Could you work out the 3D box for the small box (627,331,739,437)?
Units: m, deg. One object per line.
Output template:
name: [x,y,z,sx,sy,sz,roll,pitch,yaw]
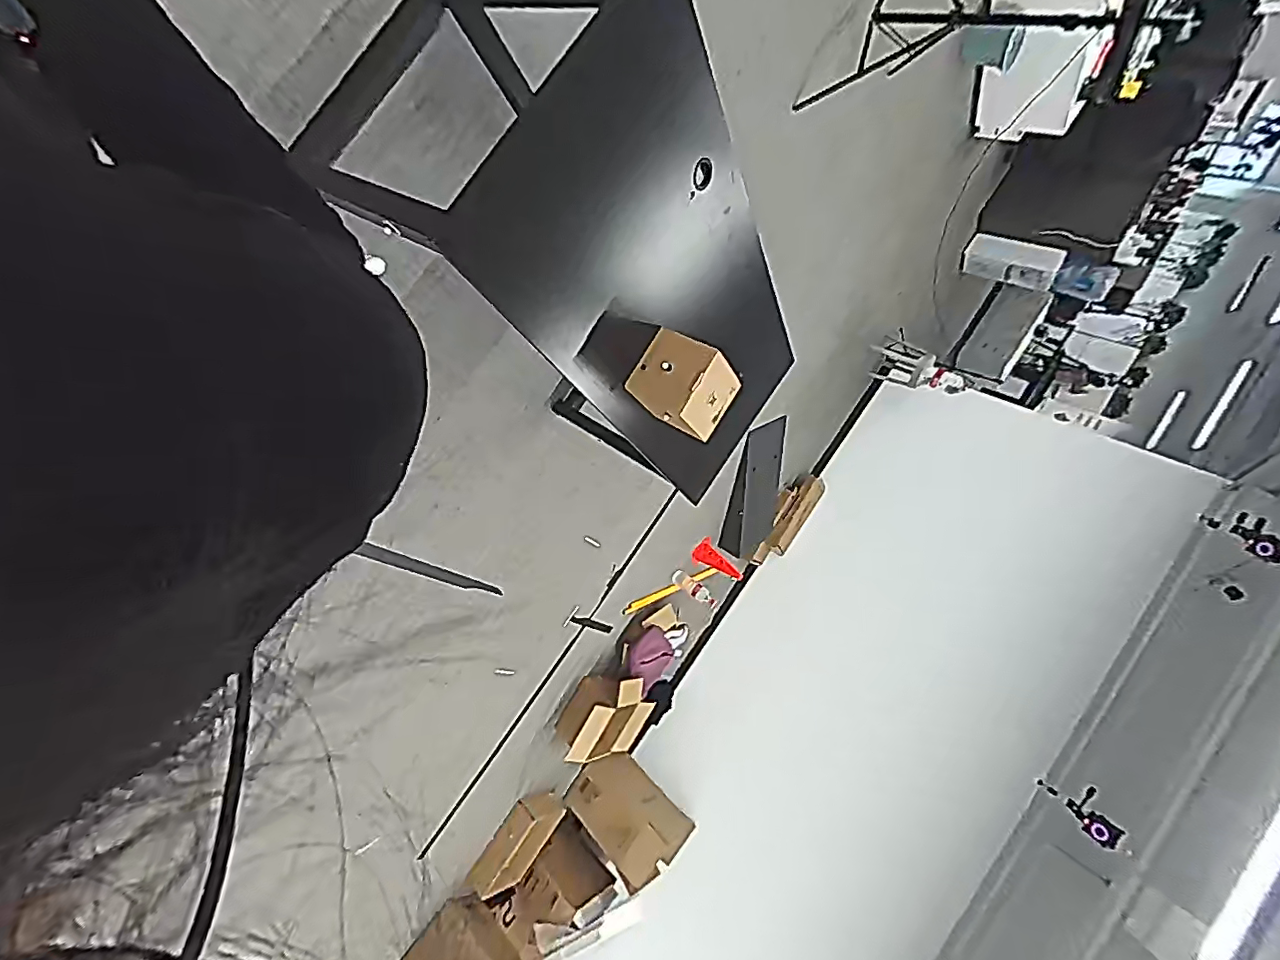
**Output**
small box: [0.099,-0.228,1.263,0.168,0.176,0.179,-58,148,-1]
